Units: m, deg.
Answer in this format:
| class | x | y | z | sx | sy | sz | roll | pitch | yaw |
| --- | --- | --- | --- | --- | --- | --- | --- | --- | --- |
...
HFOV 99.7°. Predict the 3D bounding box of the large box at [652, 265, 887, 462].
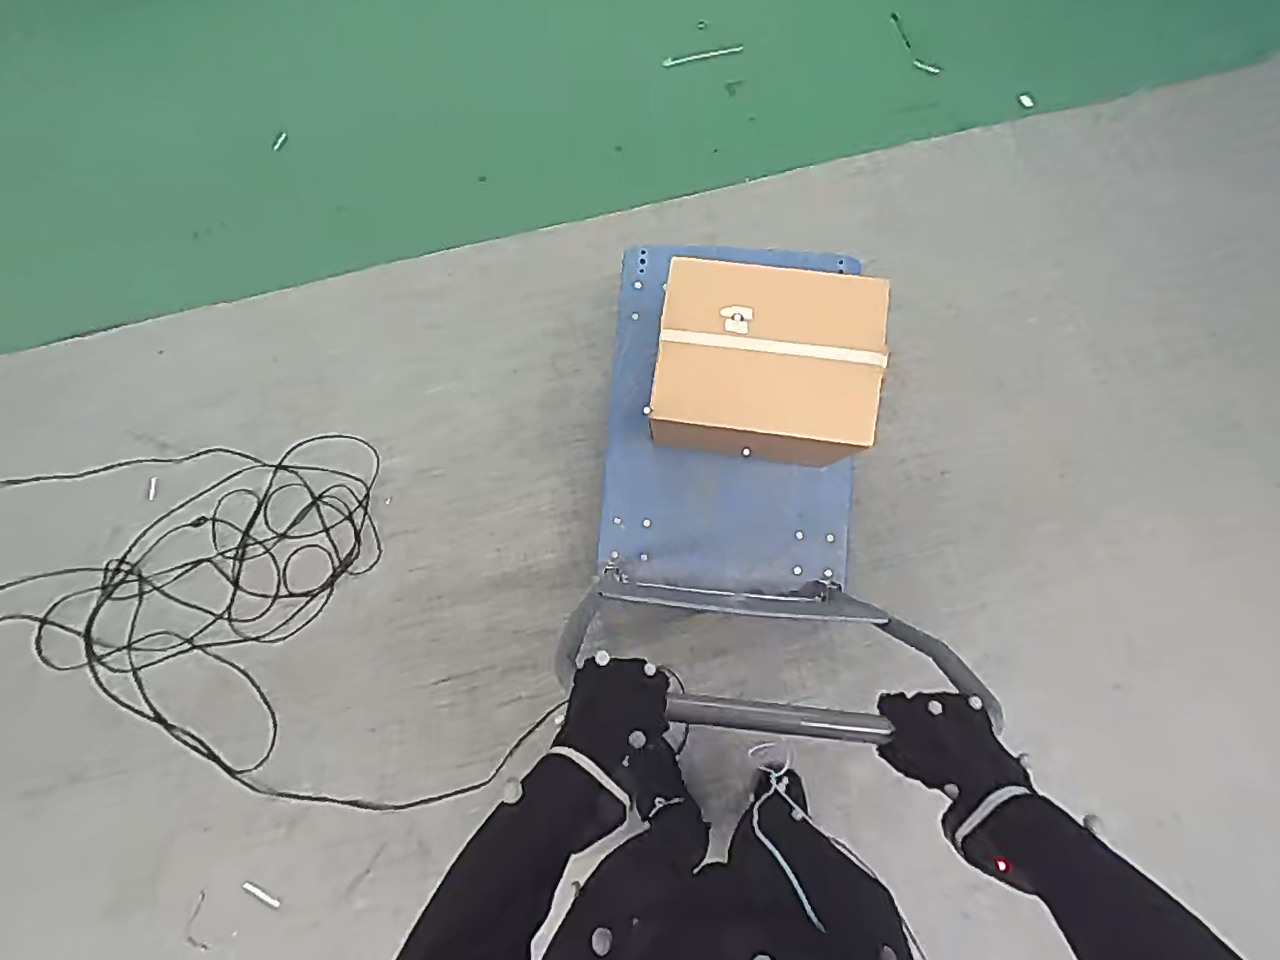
| class | x | y | z | sx | sy | sz | roll | pitch | yaw |
| --- | --- | --- | --- | --- | --- | --- | --- | --- | --- |
| large box | 0.249 | -0.220 | 1.128 | 0.408 | 0.320 | 0.320 | 7 | 85 | 6 |
